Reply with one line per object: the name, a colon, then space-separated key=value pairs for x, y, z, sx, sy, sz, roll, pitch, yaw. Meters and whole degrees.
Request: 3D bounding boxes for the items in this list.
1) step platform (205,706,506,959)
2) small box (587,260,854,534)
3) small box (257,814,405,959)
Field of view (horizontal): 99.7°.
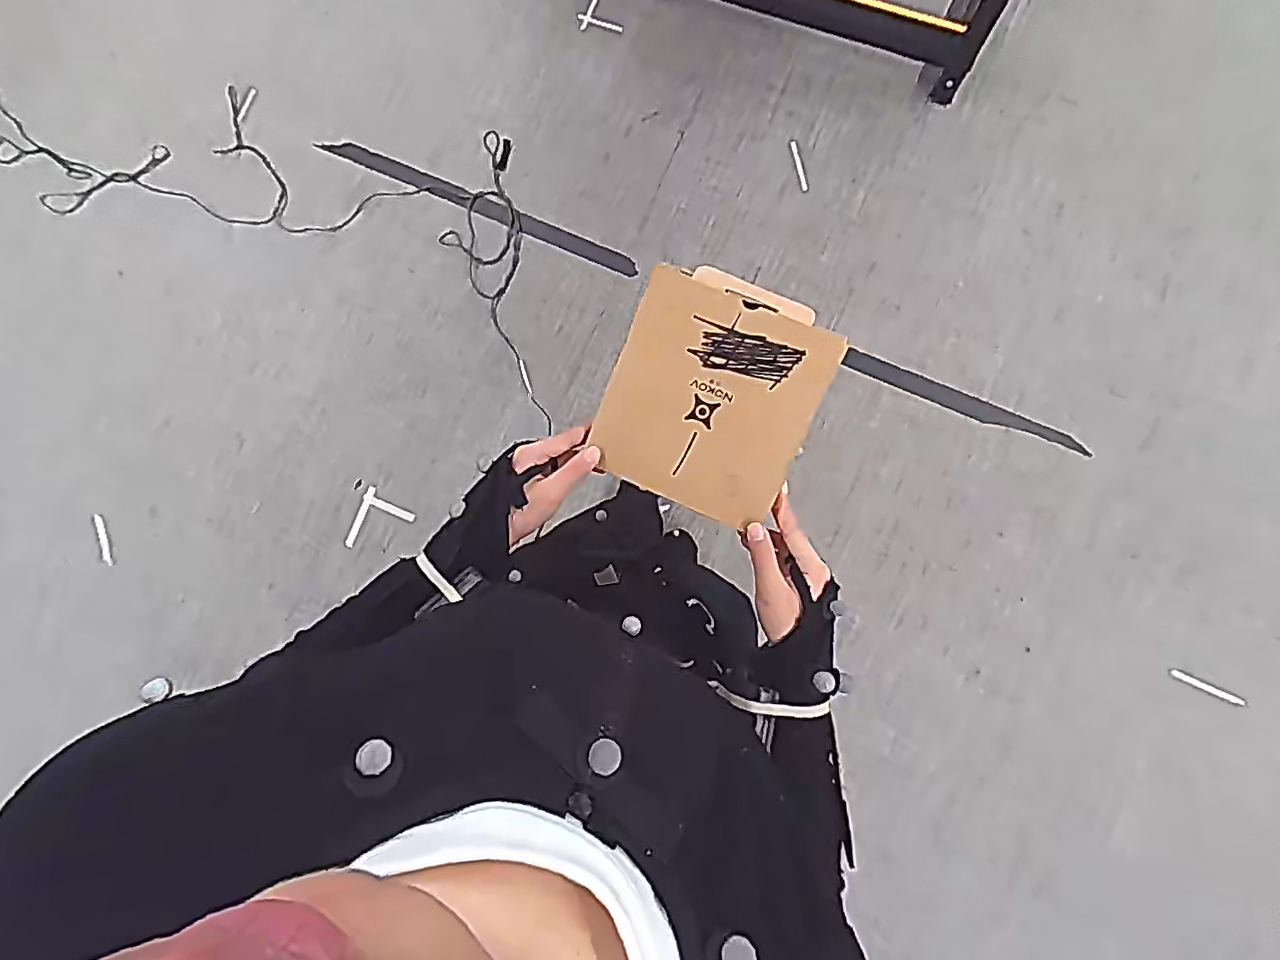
step platform: x=-0.683 y=0.837 z=1.291 sx=0.684 sy=0.204 sz=0.286 roll=24 pitch=88 yaw=7
small box: x=0.070 y=-0.074 z=0.514 sx=0.168 sy=0.176 sz=0.179 roll=24 pitch=99 yaw=5
small box: x=-0.619 y=0.841 z=1.109 sx=0.168 sy=0.176 sz=0.179 roll=26 pitch=88 yaw=7
